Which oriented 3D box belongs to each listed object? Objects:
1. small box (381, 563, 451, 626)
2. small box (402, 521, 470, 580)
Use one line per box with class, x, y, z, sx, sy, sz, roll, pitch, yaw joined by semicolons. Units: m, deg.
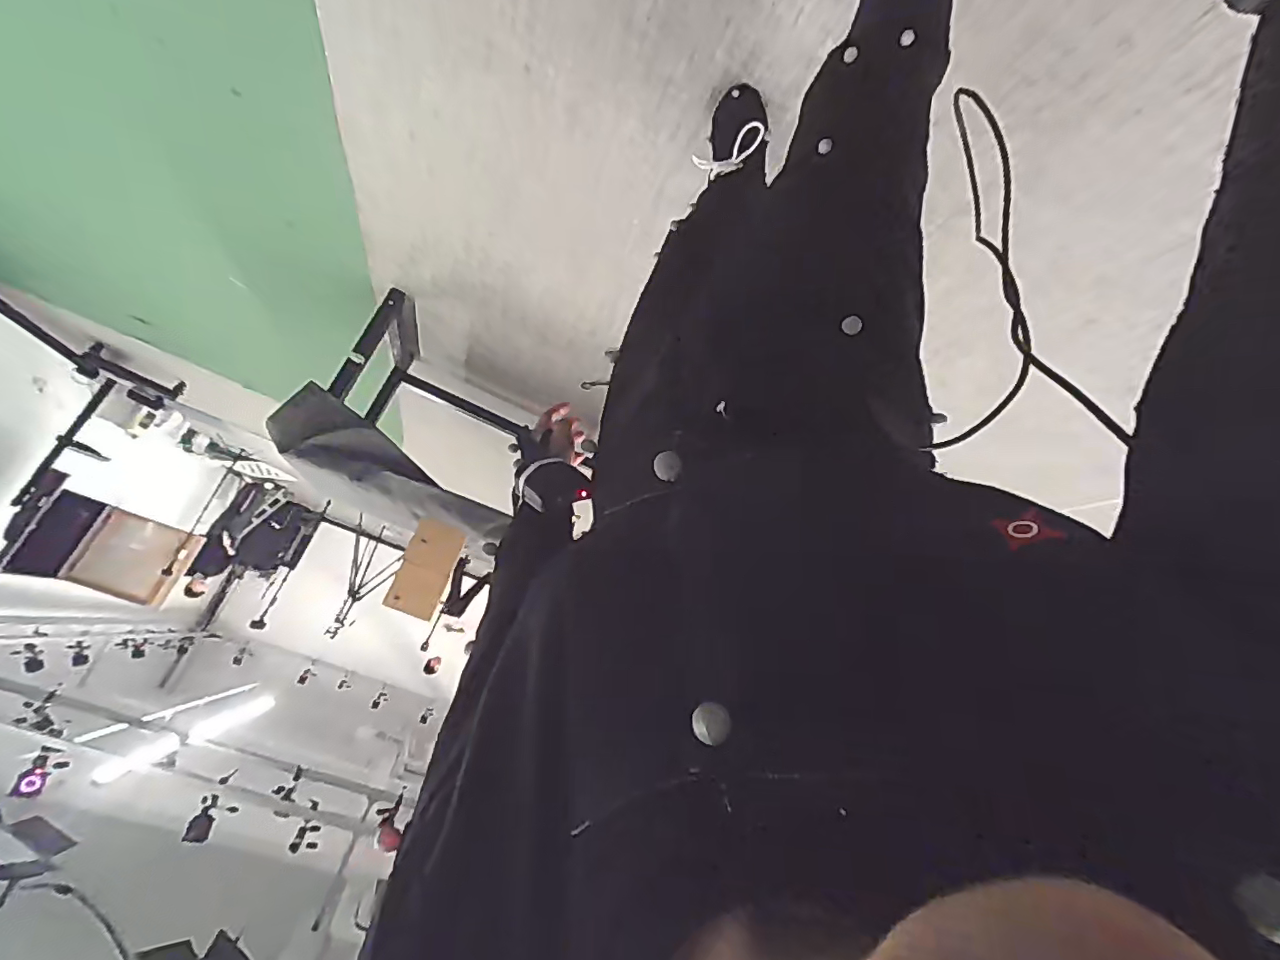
small box;-0.792;0.405;1.928;0.179;0.176;0.168;26;160;-13
small box;-0.745;0.258;1.978;0.179;0.176;0.168;24;160;-12
